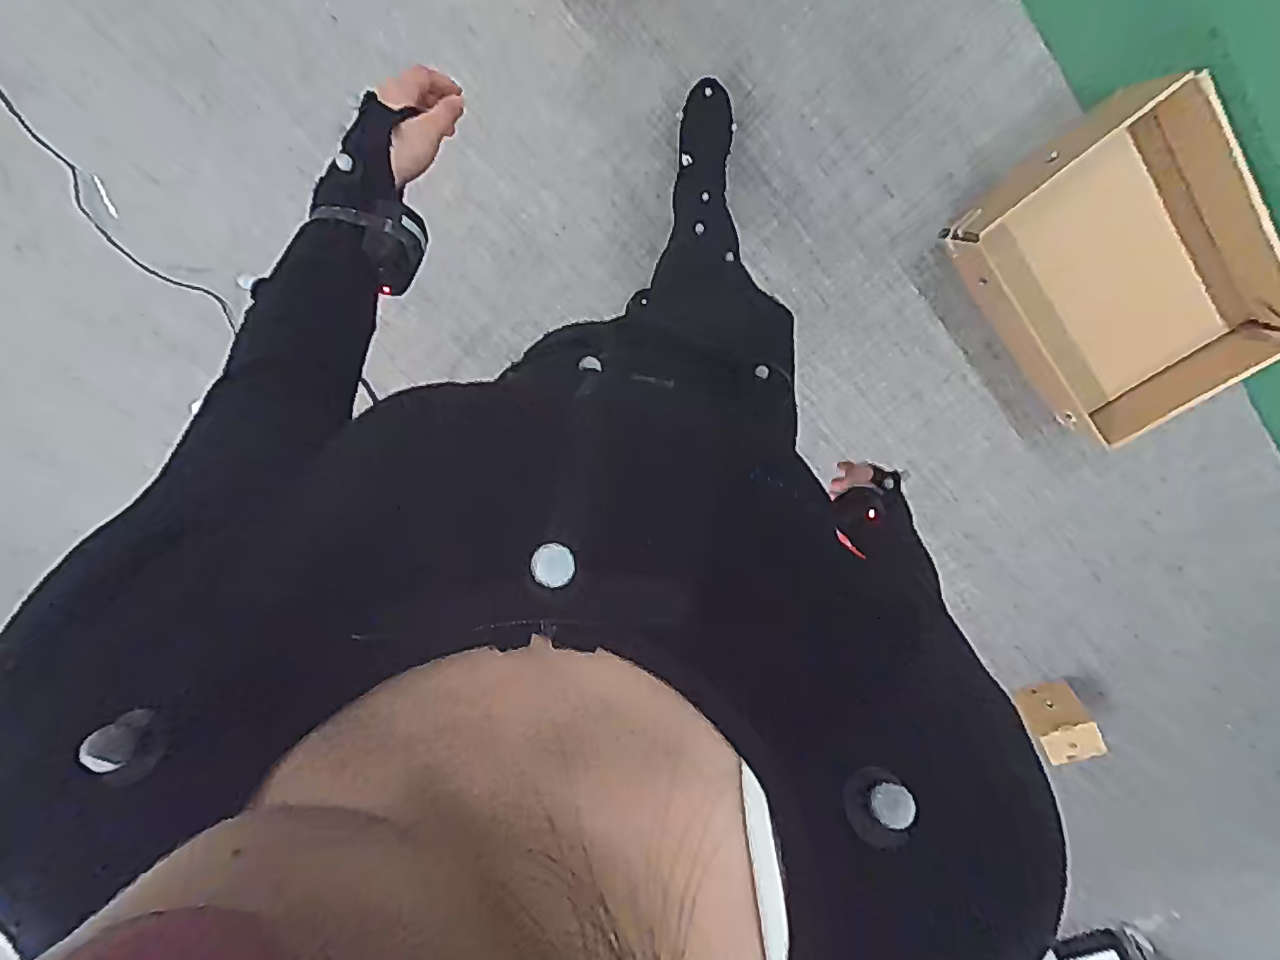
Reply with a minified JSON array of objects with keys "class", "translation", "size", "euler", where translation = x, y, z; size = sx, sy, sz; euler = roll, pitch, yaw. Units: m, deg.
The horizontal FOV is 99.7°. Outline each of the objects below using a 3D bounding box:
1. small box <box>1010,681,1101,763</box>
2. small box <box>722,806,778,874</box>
[{"class":"small box","translation":[1.375,0.796,1.799],"size":[0.168,0.176,0.179],"euler":[-28,113,19]},{"class":"small box","translation":[0.467,1.541,2.318],"size":[0.168,0.176,0.179],"euler":[-40,107,23]}]
